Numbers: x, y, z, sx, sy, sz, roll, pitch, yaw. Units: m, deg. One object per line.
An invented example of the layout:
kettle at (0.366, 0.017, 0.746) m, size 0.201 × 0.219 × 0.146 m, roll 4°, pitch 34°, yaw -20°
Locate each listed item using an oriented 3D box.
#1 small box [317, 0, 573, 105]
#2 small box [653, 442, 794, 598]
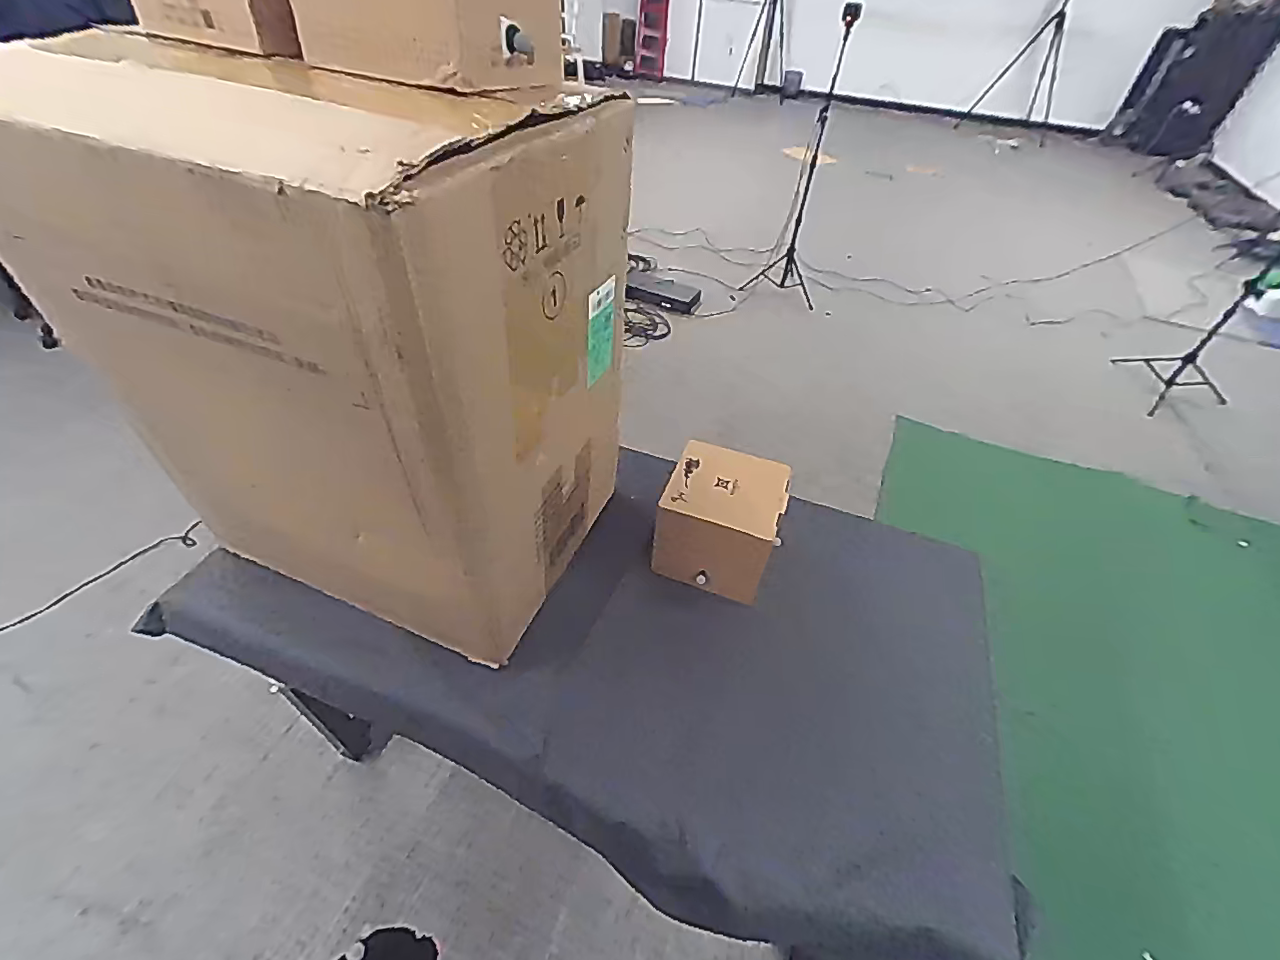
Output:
small box at (-0.173, -0.451, 0.485) m, size 0.179 × 0.176 × 0.168 m, roll 20°, pitch 43°, yaw 13°
small box at (0.134, 0.070, 0.894) m, size 0.179 × 0.176 × 0.168 m, roll 18°, pitch 46°, yaw 12°
